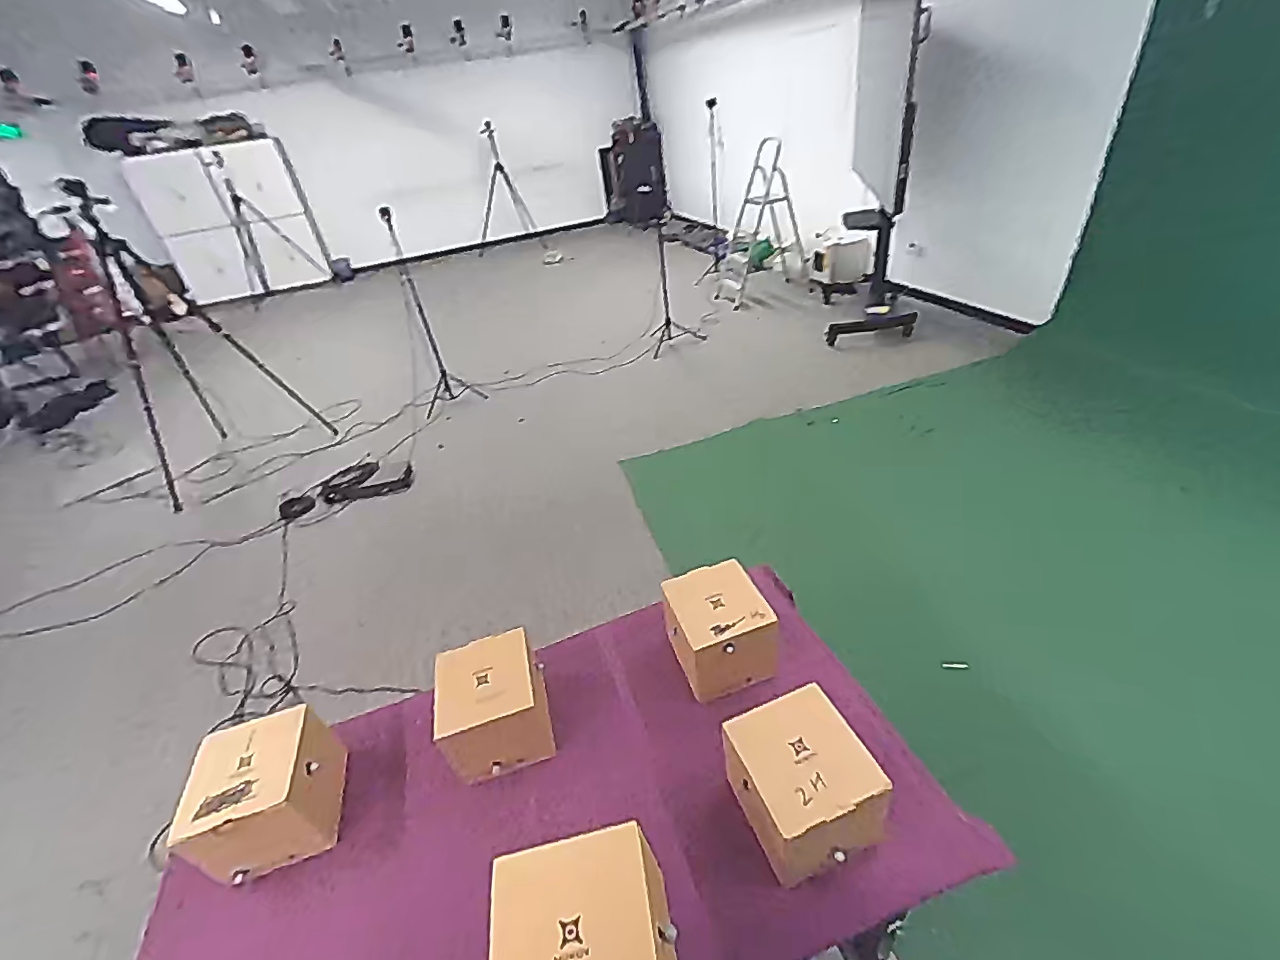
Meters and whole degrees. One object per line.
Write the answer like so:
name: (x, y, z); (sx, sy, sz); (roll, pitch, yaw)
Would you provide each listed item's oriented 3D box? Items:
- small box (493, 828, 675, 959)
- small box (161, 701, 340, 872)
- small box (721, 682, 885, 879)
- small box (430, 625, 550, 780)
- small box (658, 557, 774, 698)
small box: (-0.052, 0.515, 0.580); (0.168, 0.176, 0.179); (-13, 40, -2)
small box: (-0.621, 0.509, 0.893); (0.168, 0.176, 0.179); (-16, 38, -11)
small box: (0.234, 0.450, 0.815); (0.168, 0.176, 0.179); (-19, 38, -11)
small box: (-0.269, 0.401, 0.980); (0.168, 0.176, 0.179); (-16, 38, -9)
small box: (0.144, 0.286, 1.056); (0.168, 0.176, 0.179); (-17, 37, -11)
